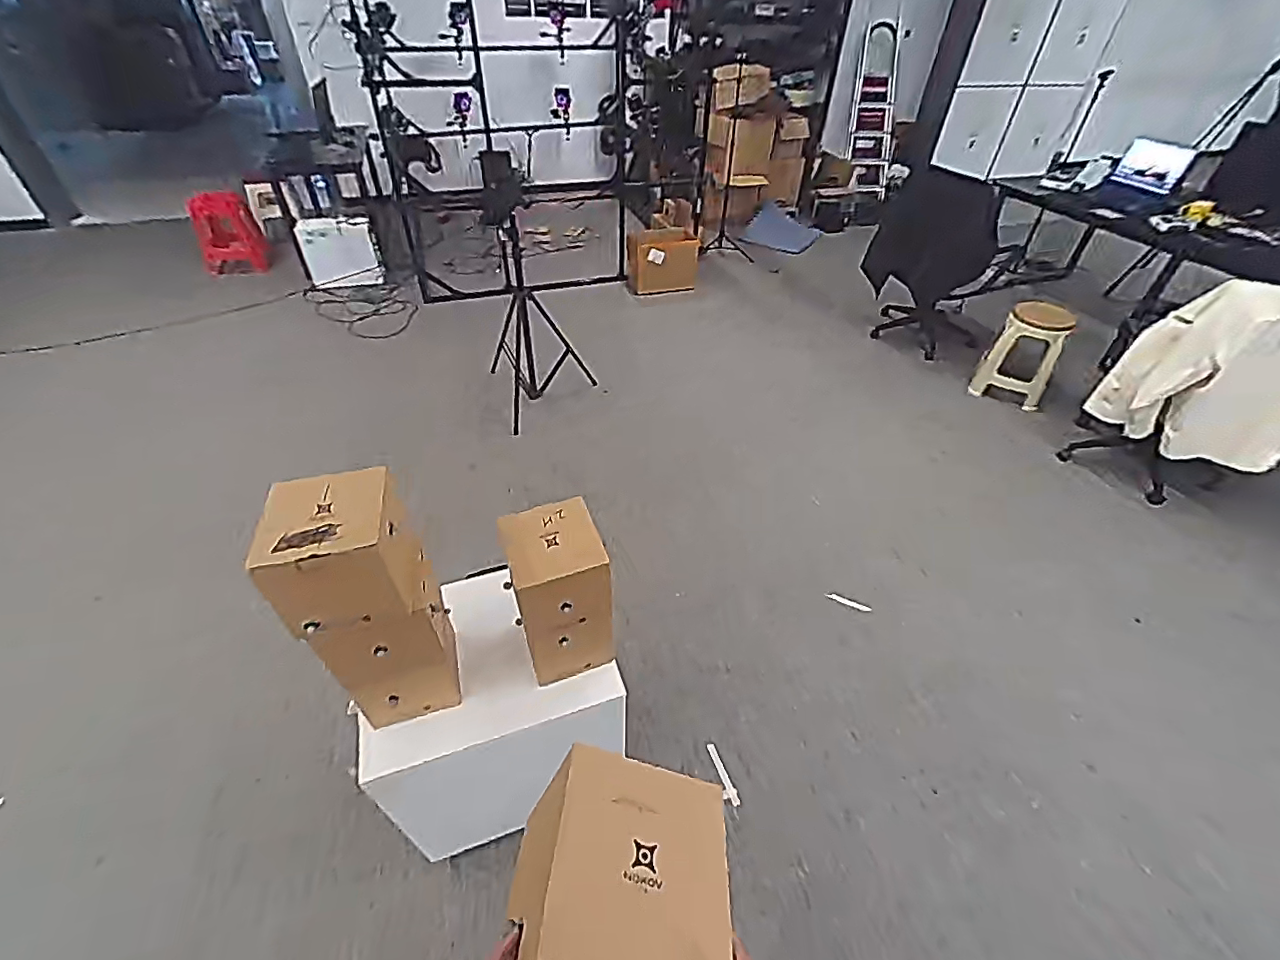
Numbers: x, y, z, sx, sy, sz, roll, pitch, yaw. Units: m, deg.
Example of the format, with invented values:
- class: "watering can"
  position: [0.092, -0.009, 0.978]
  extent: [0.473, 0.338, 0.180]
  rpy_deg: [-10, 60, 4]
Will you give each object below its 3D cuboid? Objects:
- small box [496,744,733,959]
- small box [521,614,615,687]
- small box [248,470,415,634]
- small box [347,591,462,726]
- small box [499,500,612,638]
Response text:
- class: "small box"
  position: [-0.027, 0.395, 0.512]
  extent: [0.168, 0.176, 0.179]
  rpy_deg: [22, 31, -9]
- class: "small box"
  position: [-0.156, 0.292, 1.120]
  extent: [0.168, 0.176, 0.179]
  rpy_deg: [-15, 45, -16]
- class: "small box"
  position: [-0.449, 0.114, 0.822]
  extent: [0.168, 0.176, 0.179]
  rpy_deg: [-10, 43, -12]
- class: "small box"
  position: [-0.450, 0.352, 1.050]
  extent: [0.168, 0.176, 0.179]
  rpy_deg: [-12, 44, -15]
- class: "small box"
  position: [-0.154, 0.171, 1.008]
  extent: [0.168, 0.176, 0.179]
  rpy_deg: [-14, 45, -15]
